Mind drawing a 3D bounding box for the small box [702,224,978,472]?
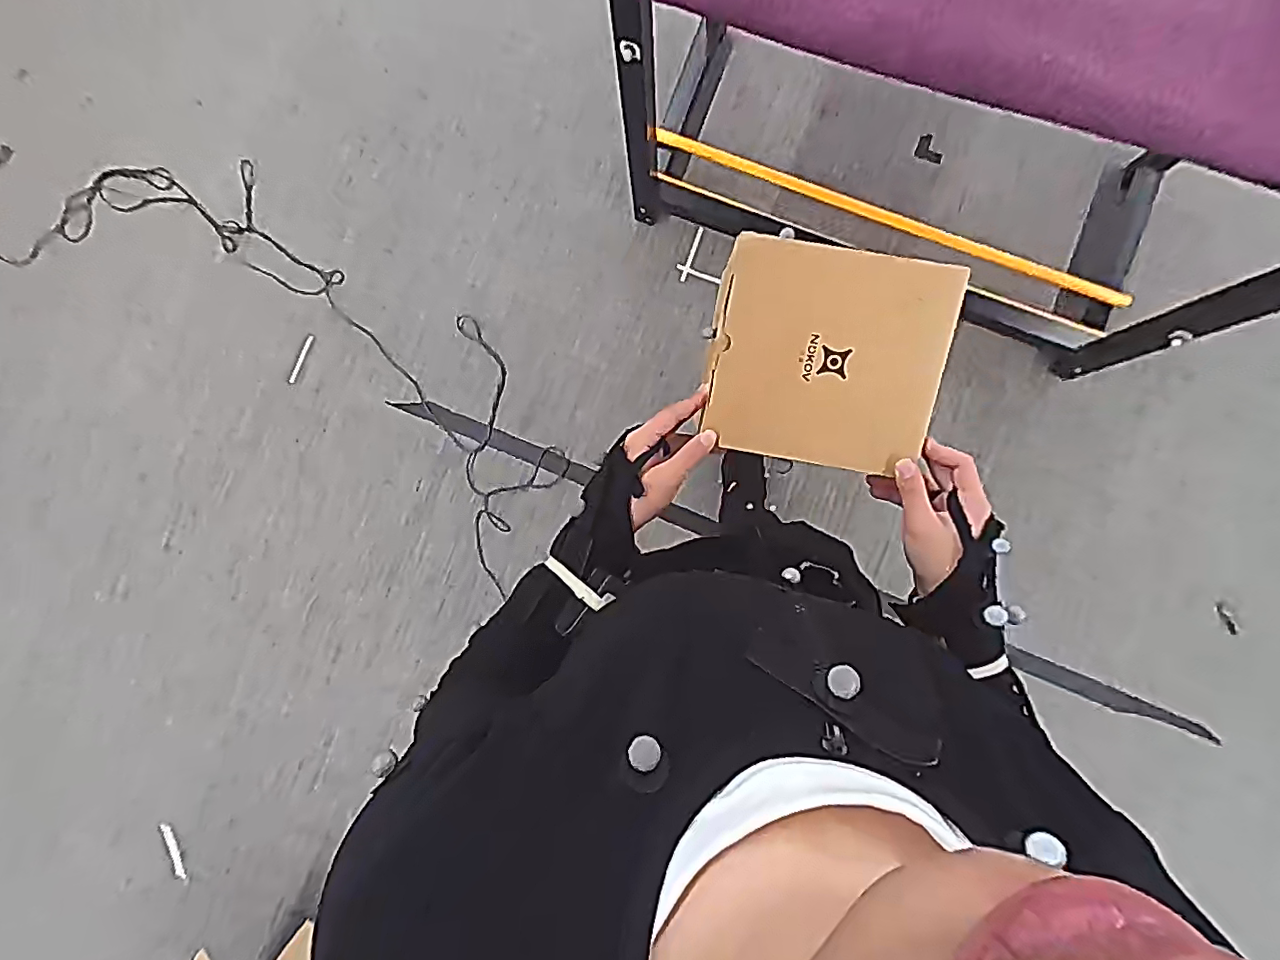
[{"bbox_3d":[0.157,-0.114,0.493,0.179,0.176,0.168,10,102,4],"label":"small box"}]
